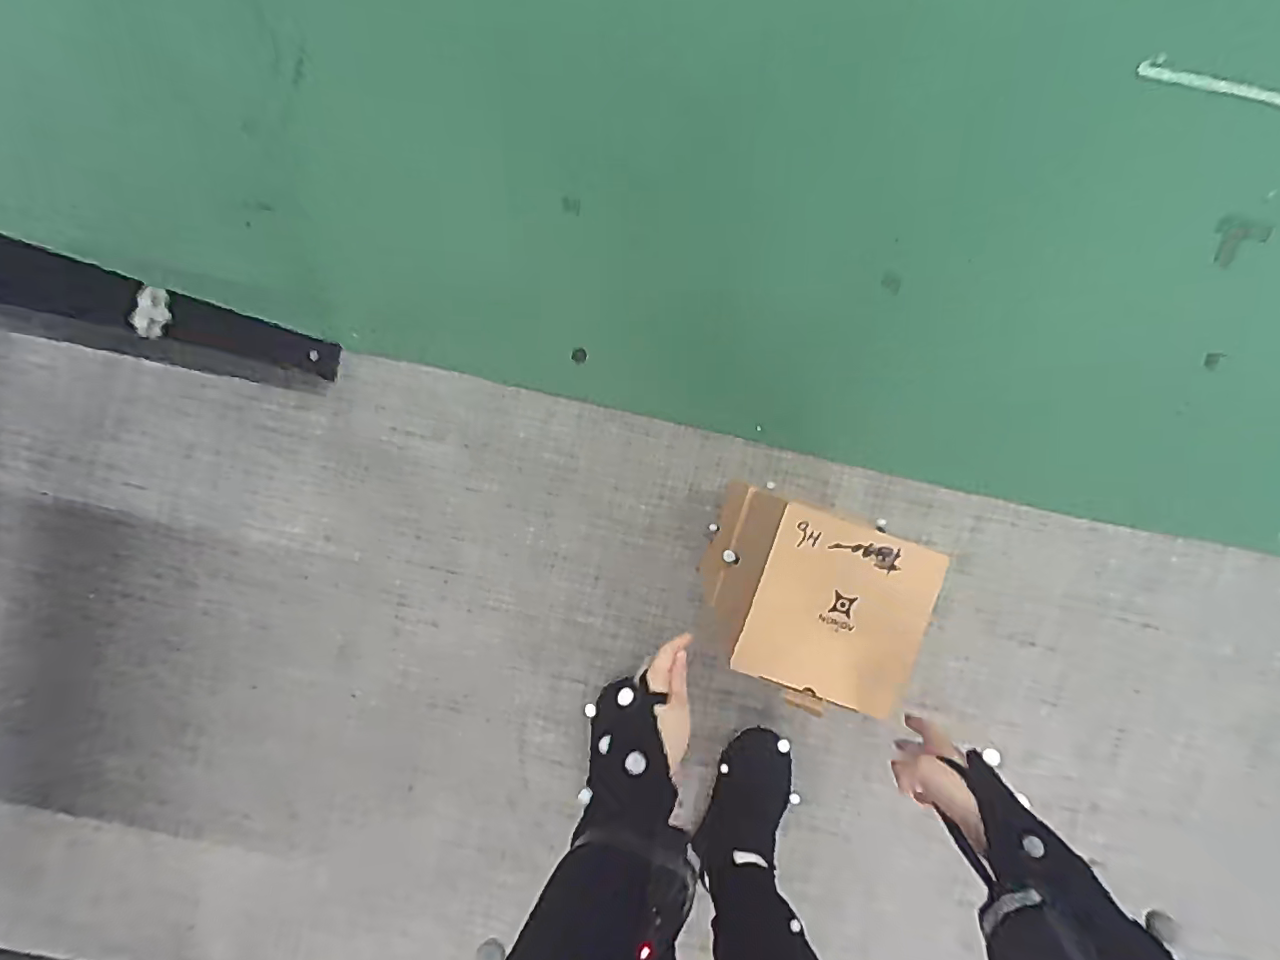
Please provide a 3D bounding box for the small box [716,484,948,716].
[{"bbox_3d":[0.188,0.114,0.591,0.168,0.176,0.179,19,94,0],"label":"small box"}]
